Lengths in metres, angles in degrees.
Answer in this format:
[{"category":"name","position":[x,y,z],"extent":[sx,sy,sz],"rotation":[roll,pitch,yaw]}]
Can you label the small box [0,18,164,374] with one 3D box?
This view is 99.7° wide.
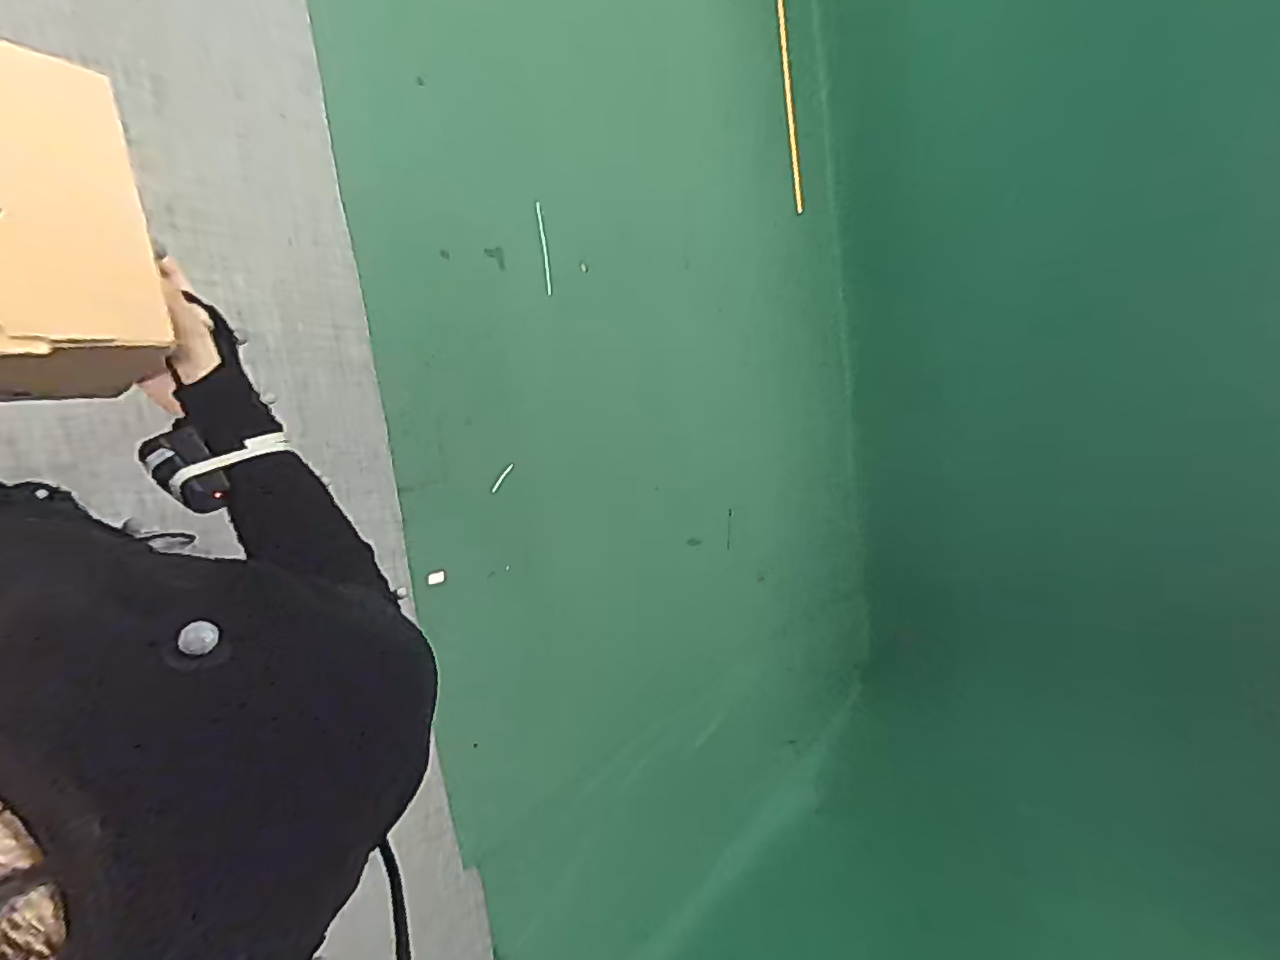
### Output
[{"category":"small box","position":[-0.445,-0.170,0.334],"extent":[0.168,0.176,0.179],"rotation":[-18,99,-55]}]
